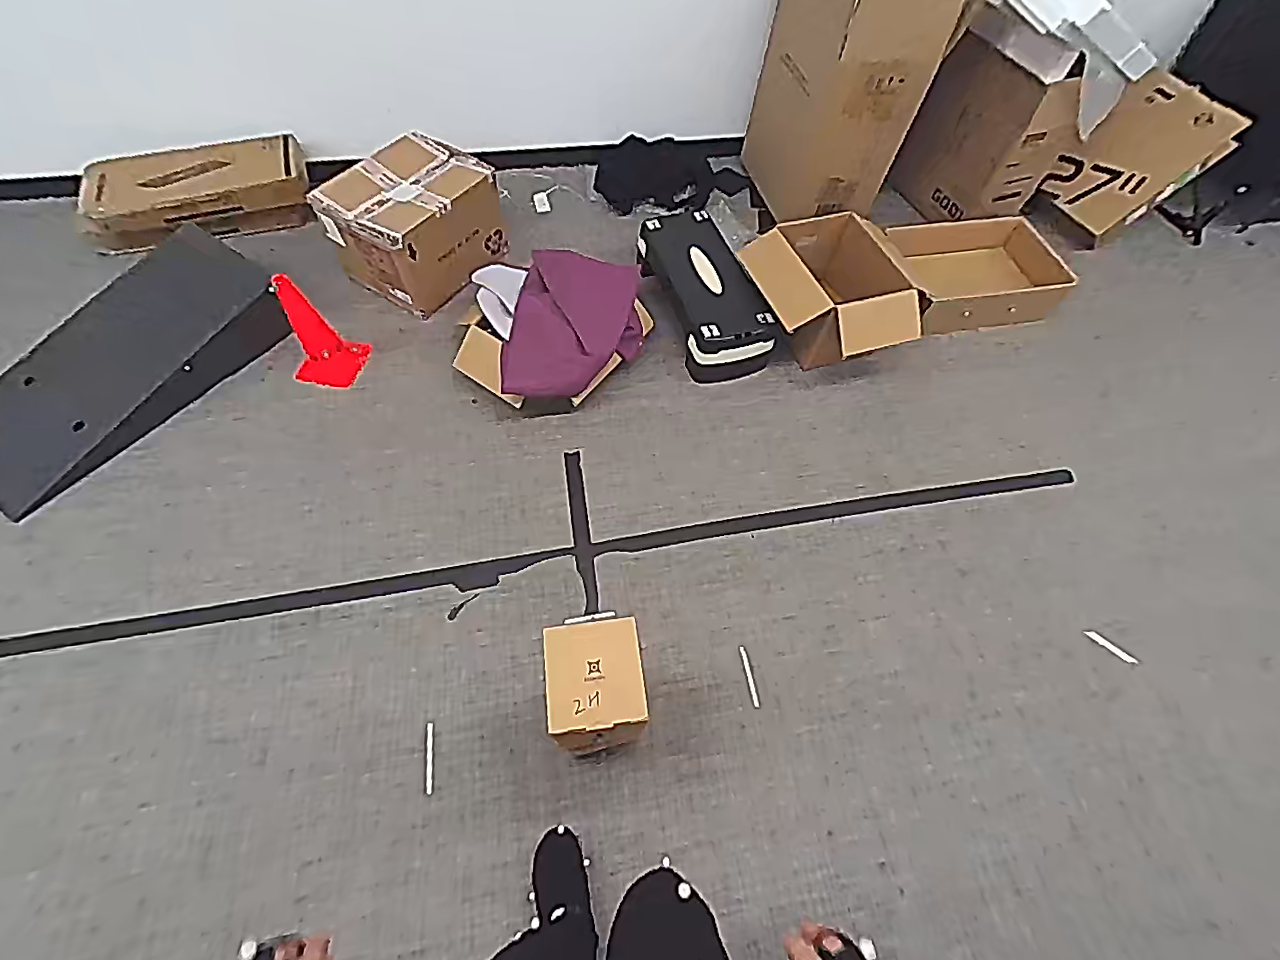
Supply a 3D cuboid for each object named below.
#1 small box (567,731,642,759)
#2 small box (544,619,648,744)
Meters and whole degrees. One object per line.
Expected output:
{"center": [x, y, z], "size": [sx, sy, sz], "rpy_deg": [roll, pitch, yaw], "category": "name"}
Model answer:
{"center": [-0.099, 0.536, 1.263], "size": [0.168, 0.176, 0.179], "rpy_deg": [-13, 63, -9], "category": "small box"}
{"center": [-0.082, 0.368, 0.980], "size": [0.168, 0.176, 0.179], "rpy_deg": [-6, 61, -6], "category": "small box"}
